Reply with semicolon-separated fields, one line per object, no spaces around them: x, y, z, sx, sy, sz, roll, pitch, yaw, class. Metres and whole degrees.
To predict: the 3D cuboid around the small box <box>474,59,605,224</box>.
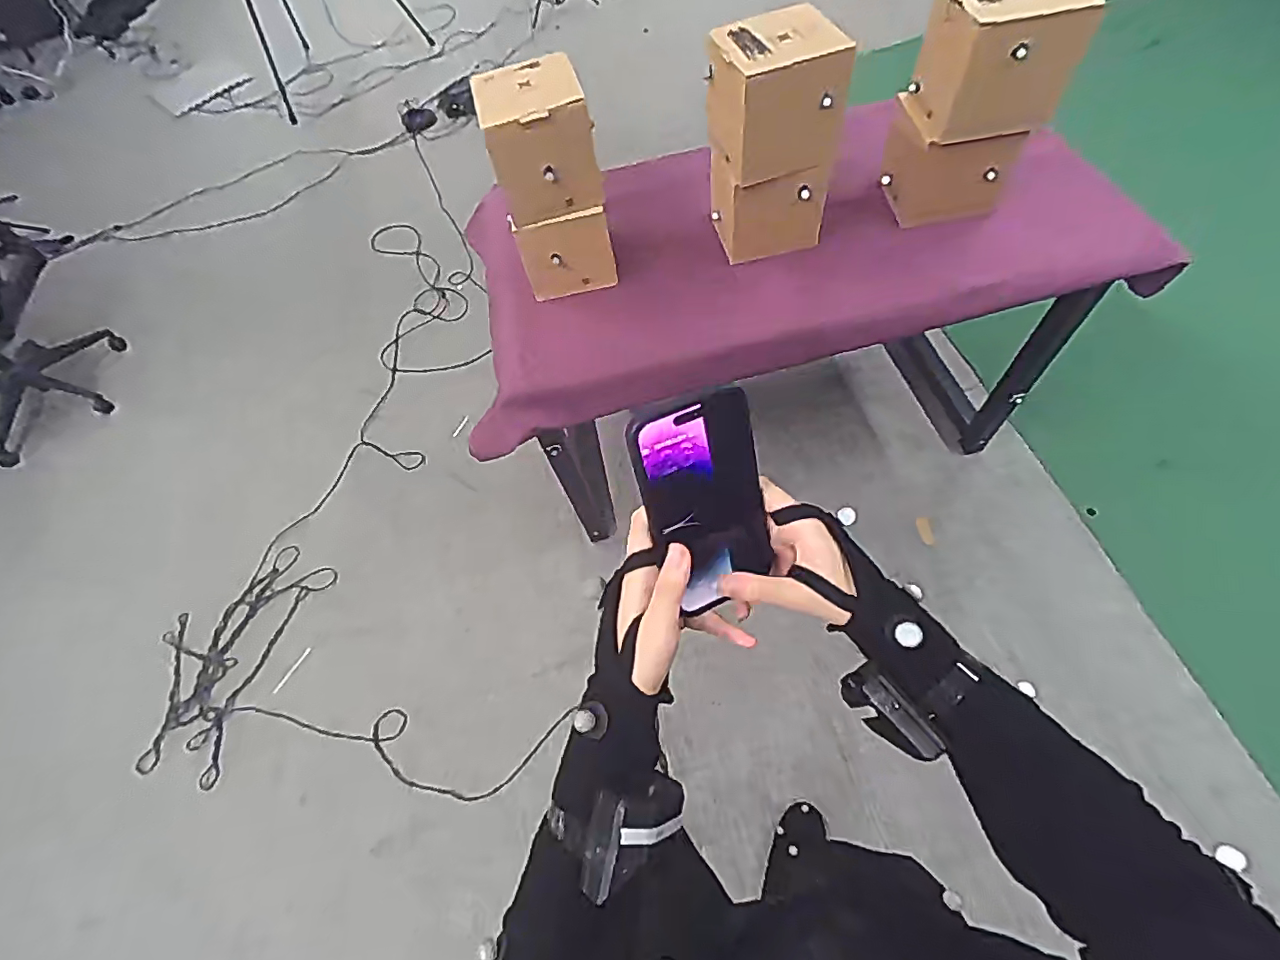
-0.165;-0.563;0.919;0.168;0.176;0.179;-16;60;-1;small box

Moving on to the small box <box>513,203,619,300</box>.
-0.142;-0.475;1.056;0.168;0.176;0.179;-12;59;2;small box

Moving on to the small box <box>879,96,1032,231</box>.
0.577;-0.601;1.018;0.179;0.176;0.168;-7;59;5;small box

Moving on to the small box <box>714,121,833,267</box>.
0.242;-0.541;1.033;0.179;0.176;0.168;-12;59;2;small box

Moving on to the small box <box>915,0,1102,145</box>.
0.567;-0.670;0.870;0.179;0.176;0.168;-7;59;4;small box
